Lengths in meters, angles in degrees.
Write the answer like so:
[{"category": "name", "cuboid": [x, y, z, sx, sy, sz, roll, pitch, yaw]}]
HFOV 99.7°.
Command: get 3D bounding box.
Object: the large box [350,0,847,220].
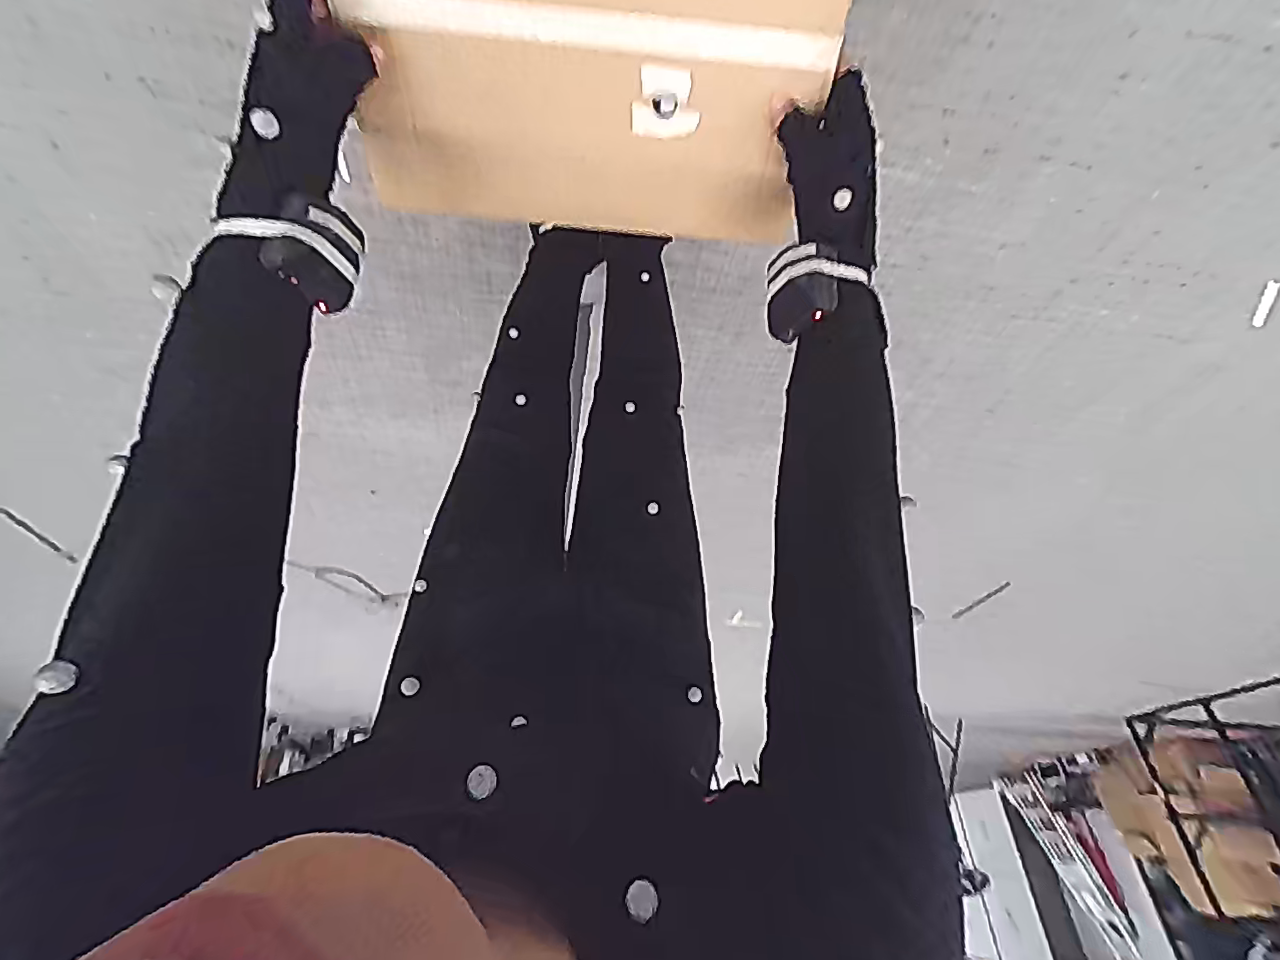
[{"category": "large box", "cuboid": [-0.036, -0.486, 0.537, 0.408, 0.320, 0.320, 3, 138, -3]}]
